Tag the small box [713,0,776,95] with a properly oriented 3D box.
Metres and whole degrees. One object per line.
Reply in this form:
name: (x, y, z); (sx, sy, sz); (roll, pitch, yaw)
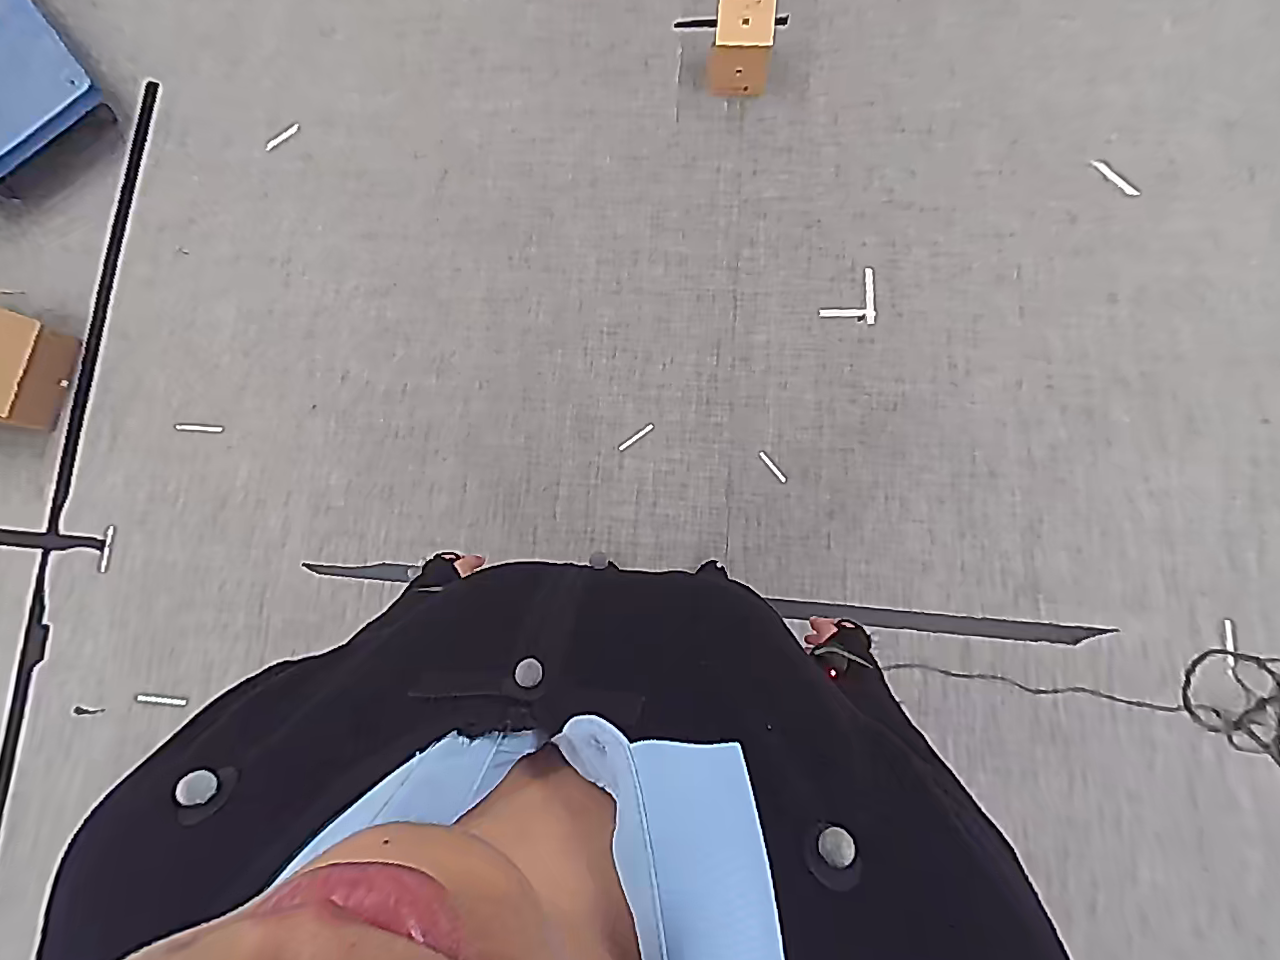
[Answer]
small box: (0.312, -1.312, 1.640); (0.168, 0.176, 0.179); (6, 81, 5)
